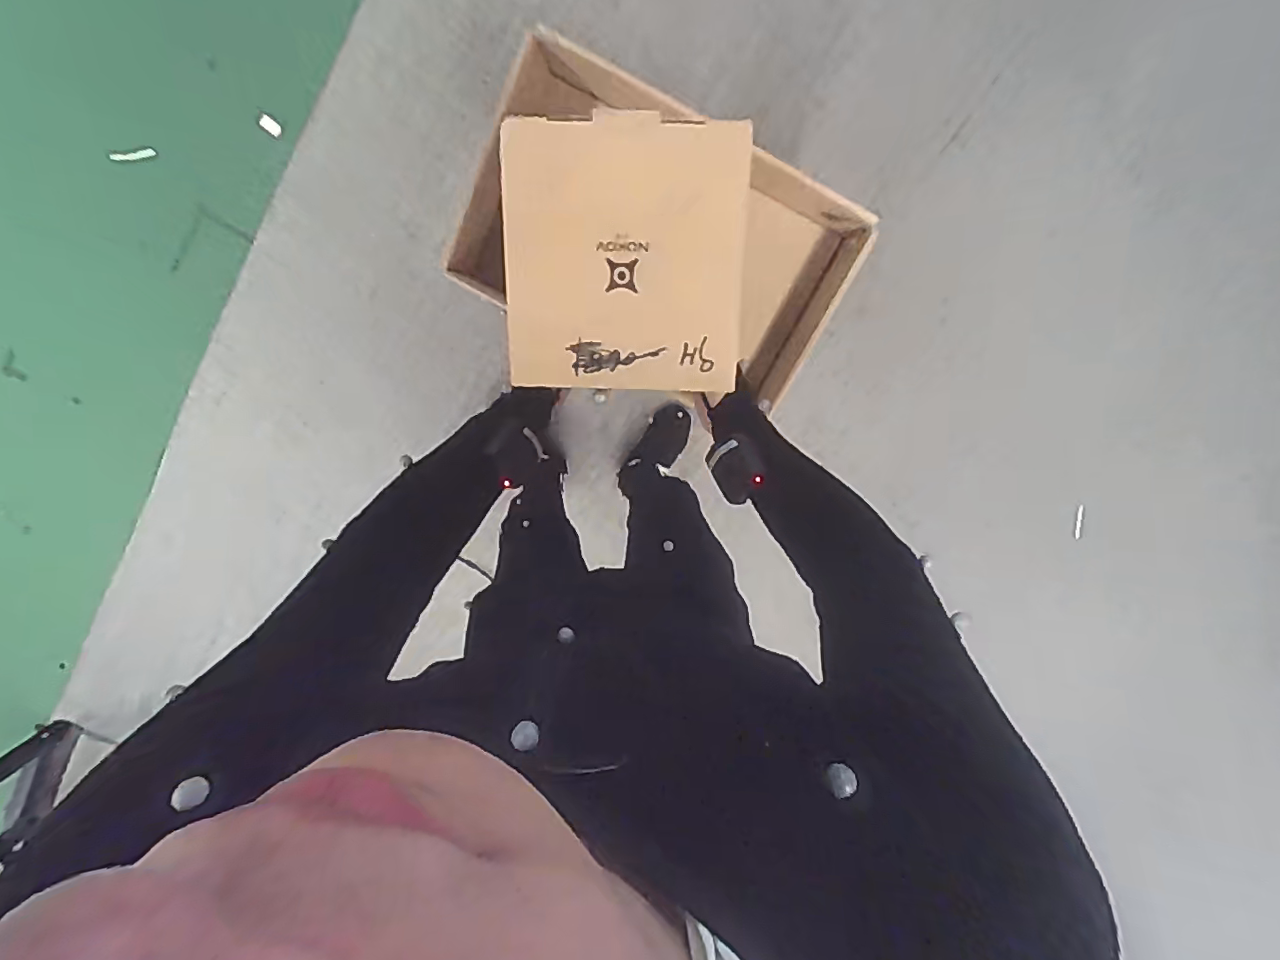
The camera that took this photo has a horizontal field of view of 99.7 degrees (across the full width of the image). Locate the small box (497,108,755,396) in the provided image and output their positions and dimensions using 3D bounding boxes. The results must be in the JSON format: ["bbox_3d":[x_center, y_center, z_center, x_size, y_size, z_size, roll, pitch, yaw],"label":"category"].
[{"bbox_3d":[-0.010,-0.165,0.435,0.168,0.176,0.179,2,105,2],"label":"small box"}]
